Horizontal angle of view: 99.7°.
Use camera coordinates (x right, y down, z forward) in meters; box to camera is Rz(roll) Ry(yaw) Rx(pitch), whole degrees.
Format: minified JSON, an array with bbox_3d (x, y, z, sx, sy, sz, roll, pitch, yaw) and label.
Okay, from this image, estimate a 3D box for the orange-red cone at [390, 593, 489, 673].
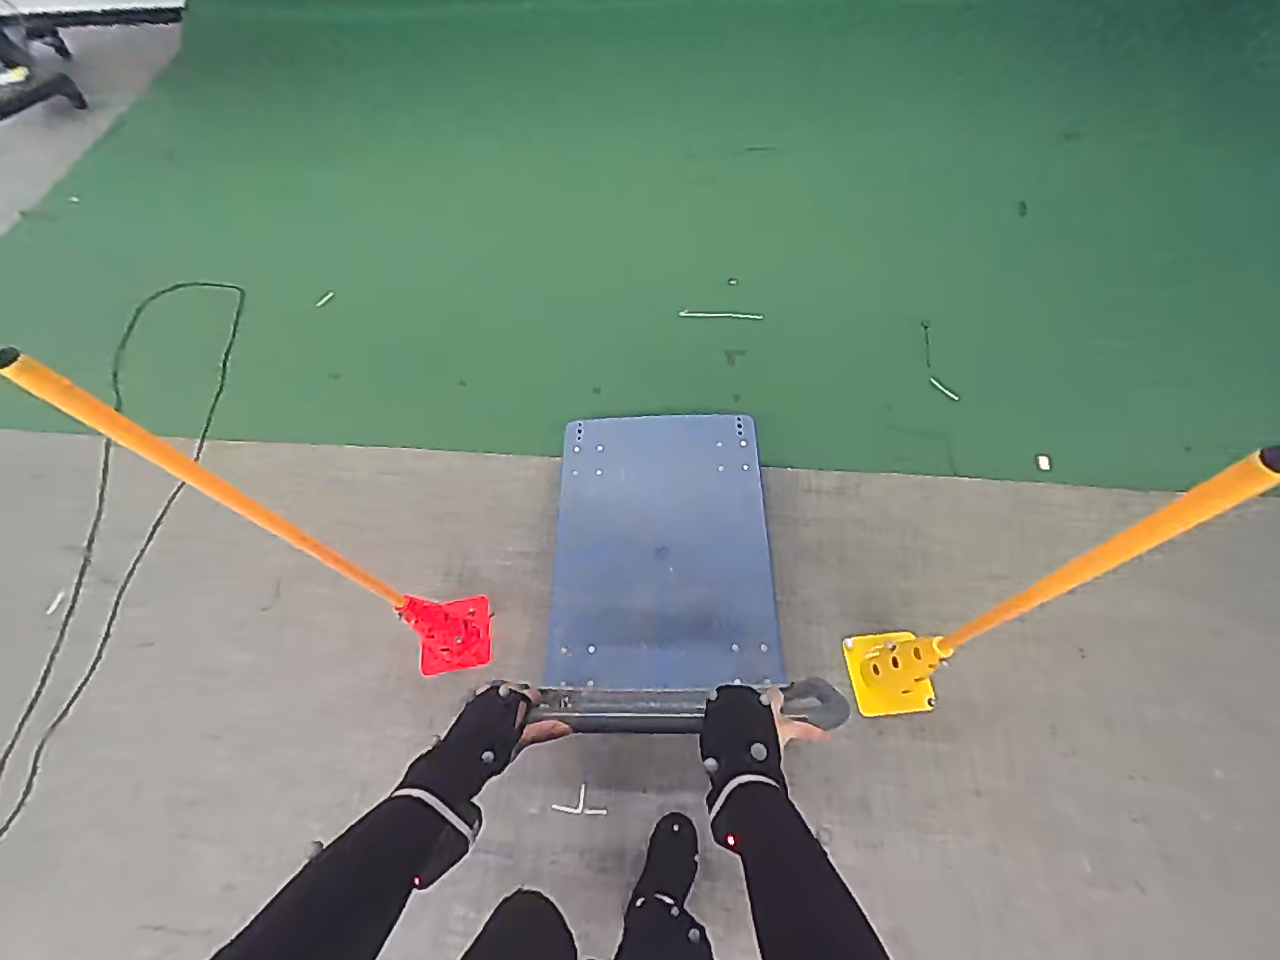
[{"bbox_3d":[-0.542,0.360,1.389,0.199,0.360,0.198,-10,62,0],"label":"orange-red cone"}]
